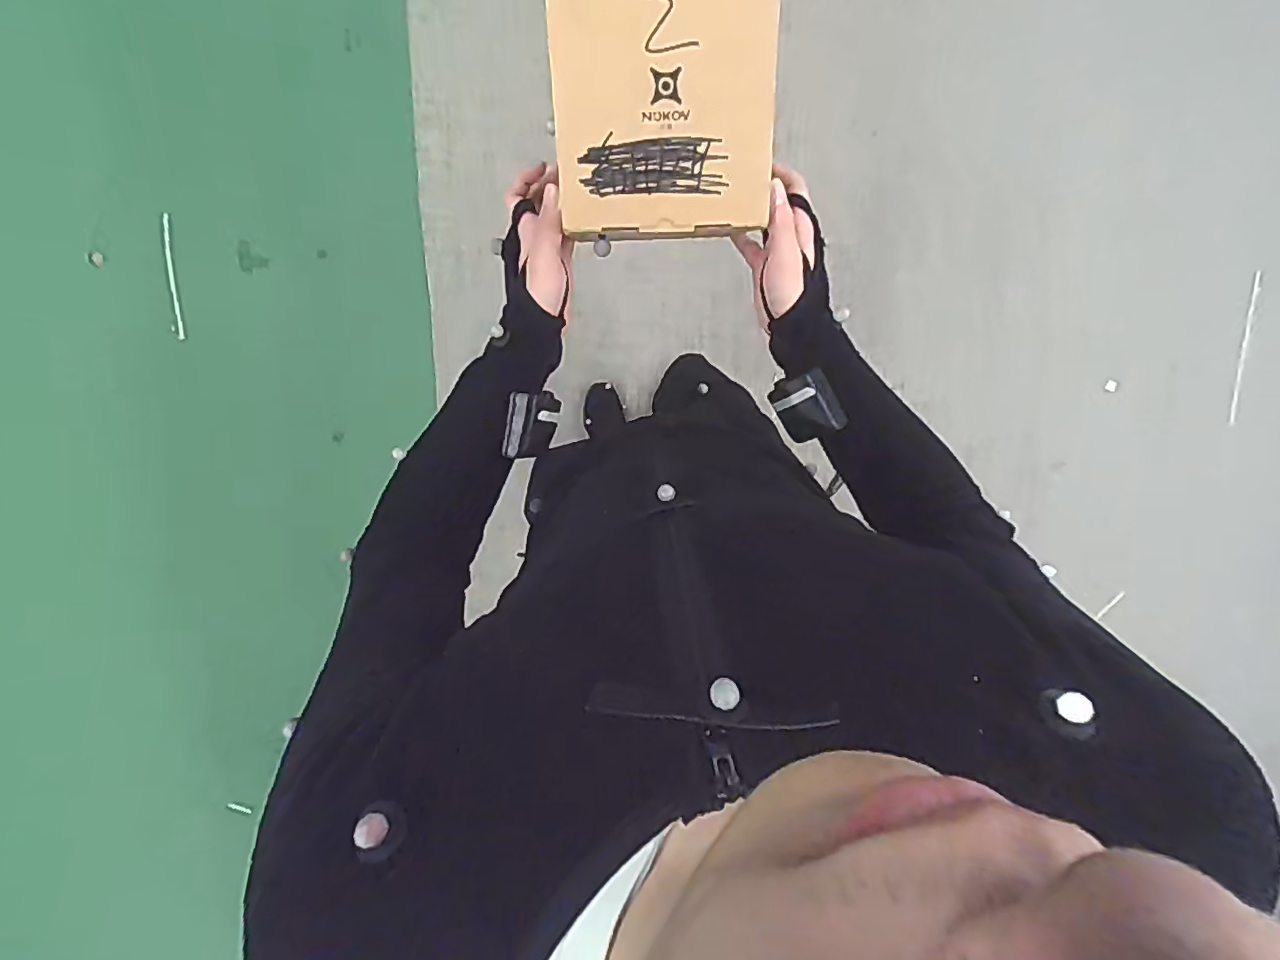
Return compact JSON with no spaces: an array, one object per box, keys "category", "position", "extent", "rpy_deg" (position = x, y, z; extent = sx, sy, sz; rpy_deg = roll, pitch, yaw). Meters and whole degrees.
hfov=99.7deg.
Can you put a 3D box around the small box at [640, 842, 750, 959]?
[{"category":"small box","position":[0.090,0.776,0.939],"extent":[0.168,0.176,0.179],"rpy_deg":[-4,101,-4]}]
